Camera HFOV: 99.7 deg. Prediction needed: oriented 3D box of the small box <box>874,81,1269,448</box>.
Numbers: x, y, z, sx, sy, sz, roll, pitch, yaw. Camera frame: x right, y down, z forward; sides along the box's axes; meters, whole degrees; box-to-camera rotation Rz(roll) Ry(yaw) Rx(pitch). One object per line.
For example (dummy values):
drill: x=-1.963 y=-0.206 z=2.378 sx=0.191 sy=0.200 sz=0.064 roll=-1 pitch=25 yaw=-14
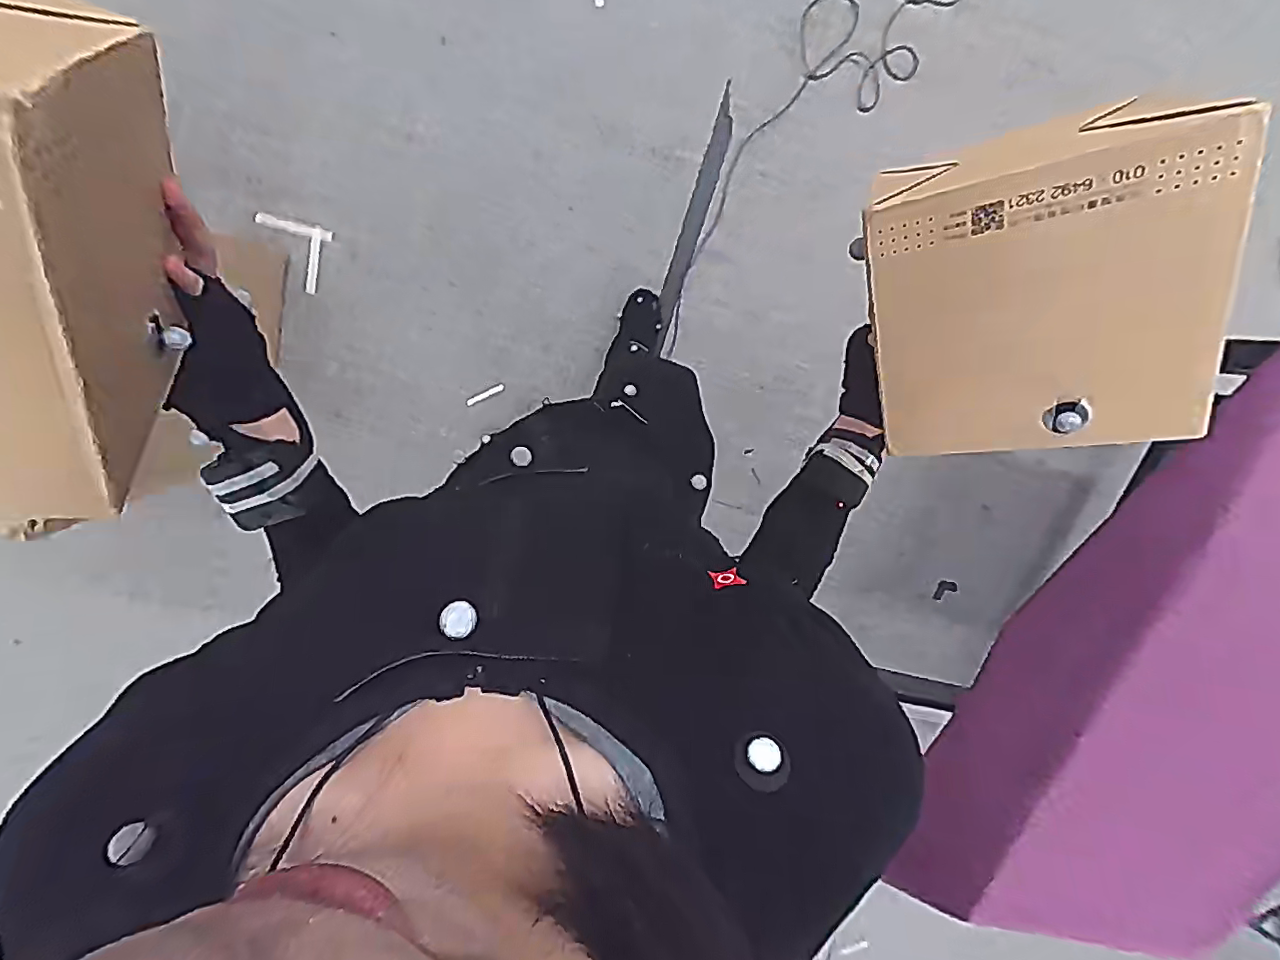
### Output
small box: x=0.256 y=-0.141 z=0.362 sx=0.168 sy=0.179 sz=0.176 roll=-3 pitch=121 yaw=29

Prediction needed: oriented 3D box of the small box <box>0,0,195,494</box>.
small box: x=-0.298 y=-0.115 z=0.207 sx=0.168 sy=0.179 sz=0.176 roll=2 pitch=130 yaw=-28
